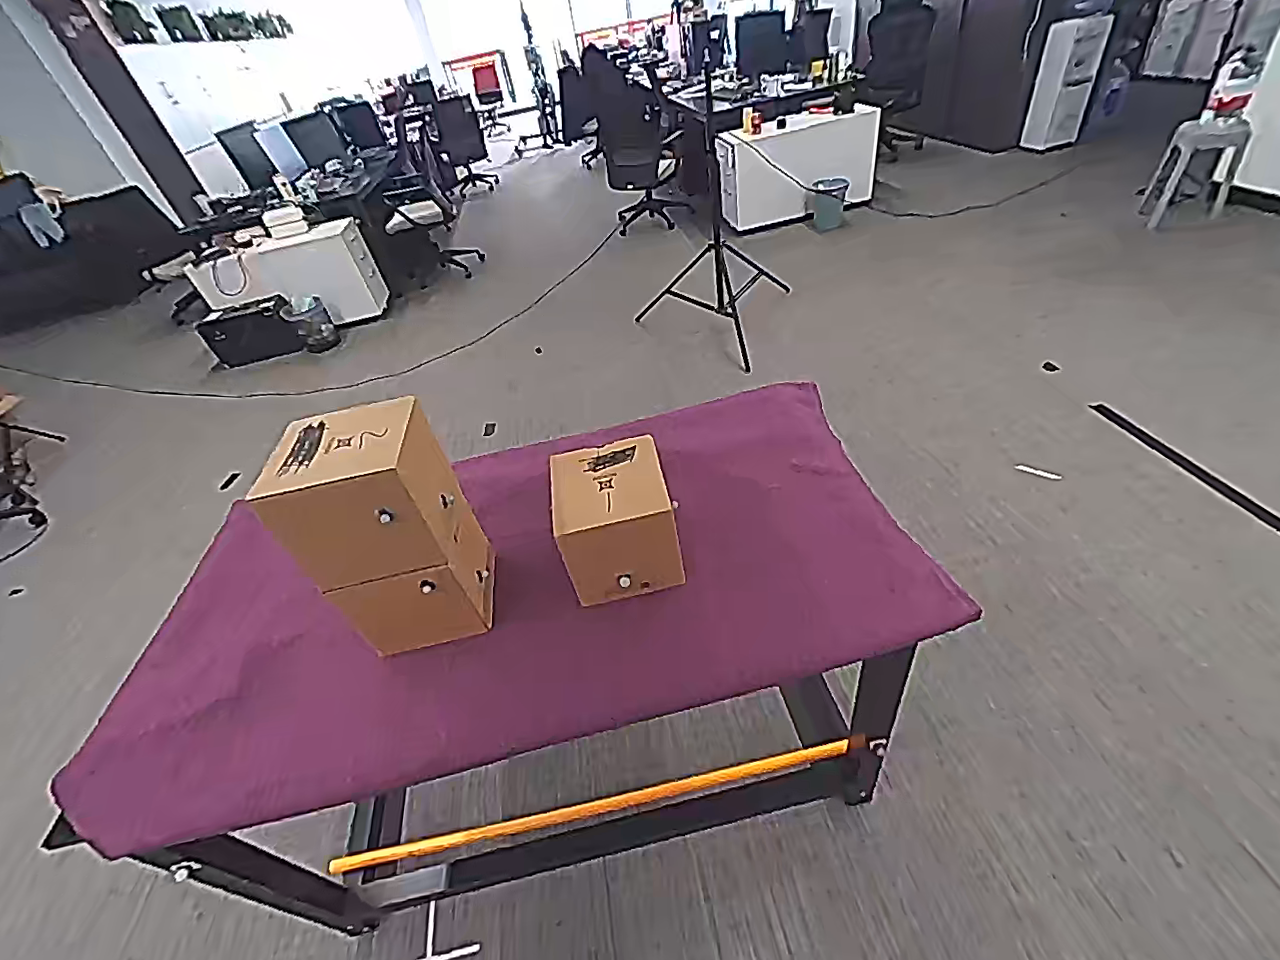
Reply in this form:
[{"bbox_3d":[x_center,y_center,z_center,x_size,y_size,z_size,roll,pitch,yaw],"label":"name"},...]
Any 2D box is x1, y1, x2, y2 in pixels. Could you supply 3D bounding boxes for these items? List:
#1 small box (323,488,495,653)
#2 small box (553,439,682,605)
[{"bbox_3d":[-0.340,0.142,0.835,0.179,0.176,0.168,-13,40,-2],"label":"small box"},{"bbox_3d":[-0.036,0.065,0.844,0.168,0.176,0.179,-13,41,0],"label":"small box"}]
